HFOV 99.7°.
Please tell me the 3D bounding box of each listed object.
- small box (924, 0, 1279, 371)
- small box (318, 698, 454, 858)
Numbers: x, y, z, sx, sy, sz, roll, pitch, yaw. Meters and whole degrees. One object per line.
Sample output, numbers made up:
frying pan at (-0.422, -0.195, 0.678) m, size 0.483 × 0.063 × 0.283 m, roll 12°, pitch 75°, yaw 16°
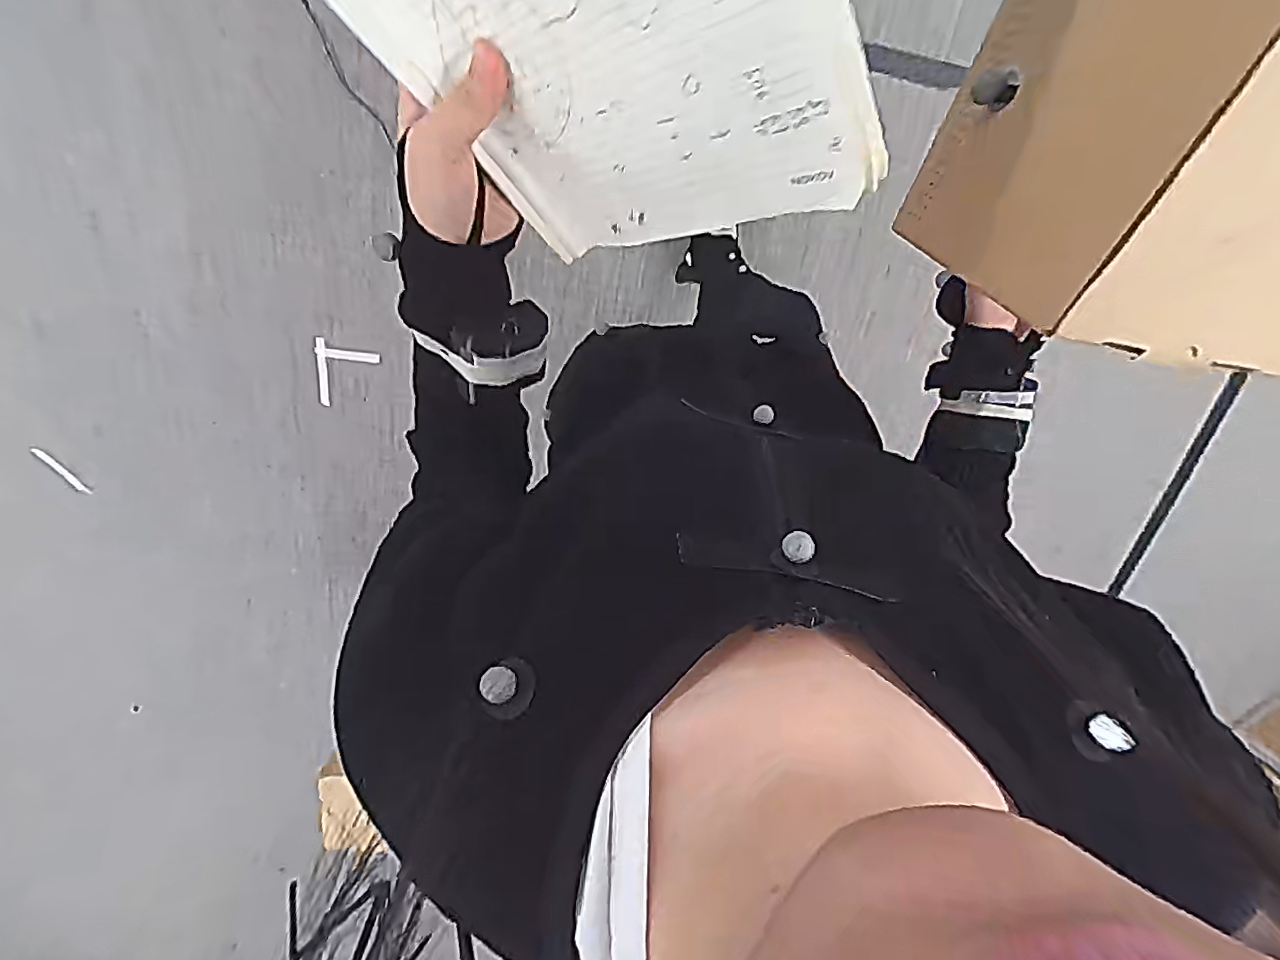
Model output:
small box at (0.286, -0.183, 0.280) m, size 0.168 × 0.176 × 0.179 m, roll 4°, pitch 131°, yaw -14°
small box at (-0.432, 0.515, 0.945) m, size 0.168 × 0.176 × 0.179 m, roll 8°, pitch 112°, yaw -6°
